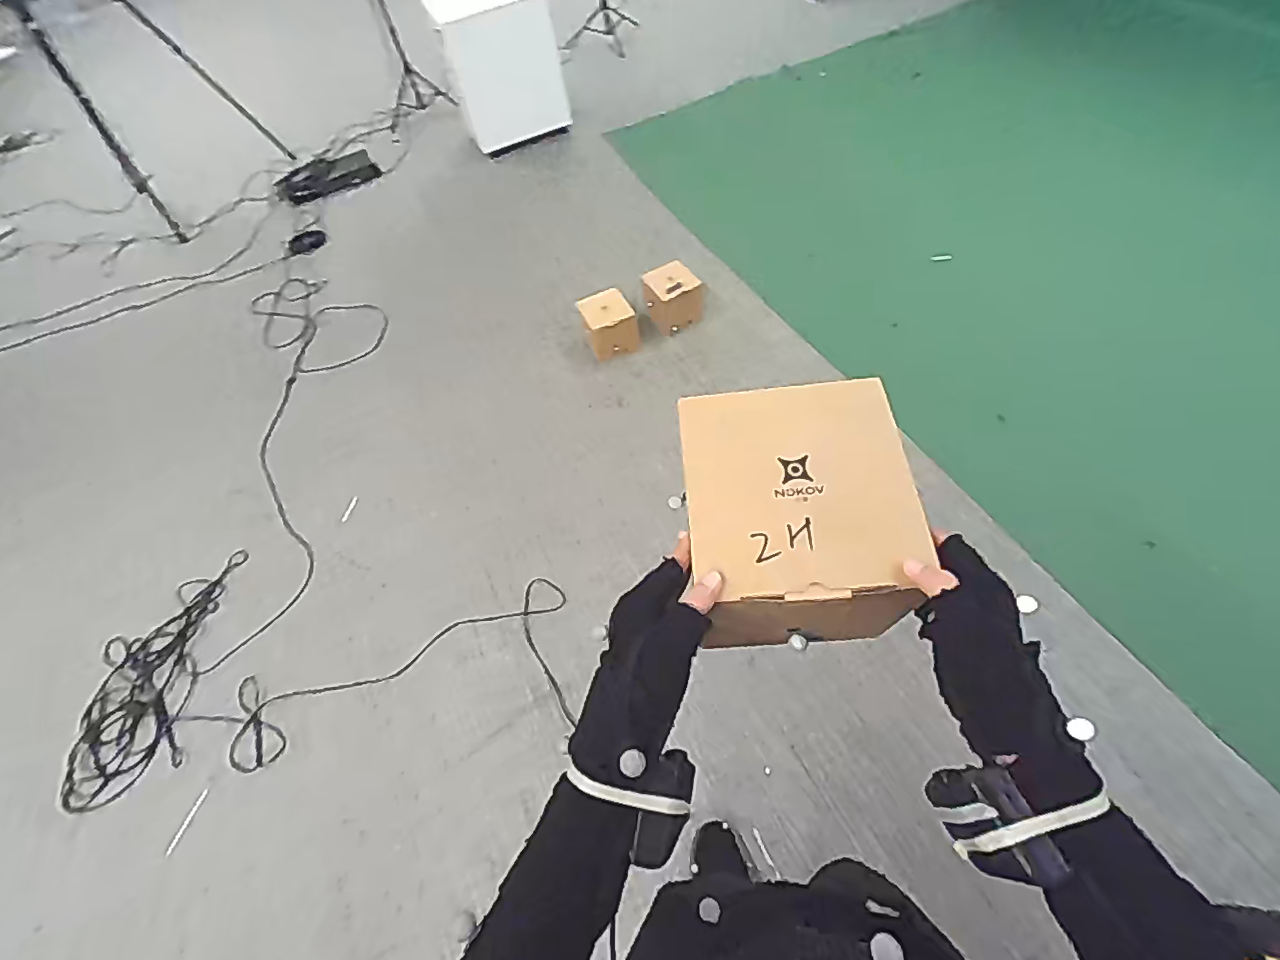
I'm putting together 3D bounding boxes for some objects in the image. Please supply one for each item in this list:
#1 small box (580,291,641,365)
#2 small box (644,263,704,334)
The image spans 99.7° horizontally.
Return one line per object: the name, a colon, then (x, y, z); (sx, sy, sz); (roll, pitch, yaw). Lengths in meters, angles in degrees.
small box: (-0.107, -0.561, 2.000); (0.168, 0.176, 0.179); (-24, 59, -9)
small box: (0.133, -0.676, 2.043); (0.168, 0.176, 0.179); (-27, 58, -10)
